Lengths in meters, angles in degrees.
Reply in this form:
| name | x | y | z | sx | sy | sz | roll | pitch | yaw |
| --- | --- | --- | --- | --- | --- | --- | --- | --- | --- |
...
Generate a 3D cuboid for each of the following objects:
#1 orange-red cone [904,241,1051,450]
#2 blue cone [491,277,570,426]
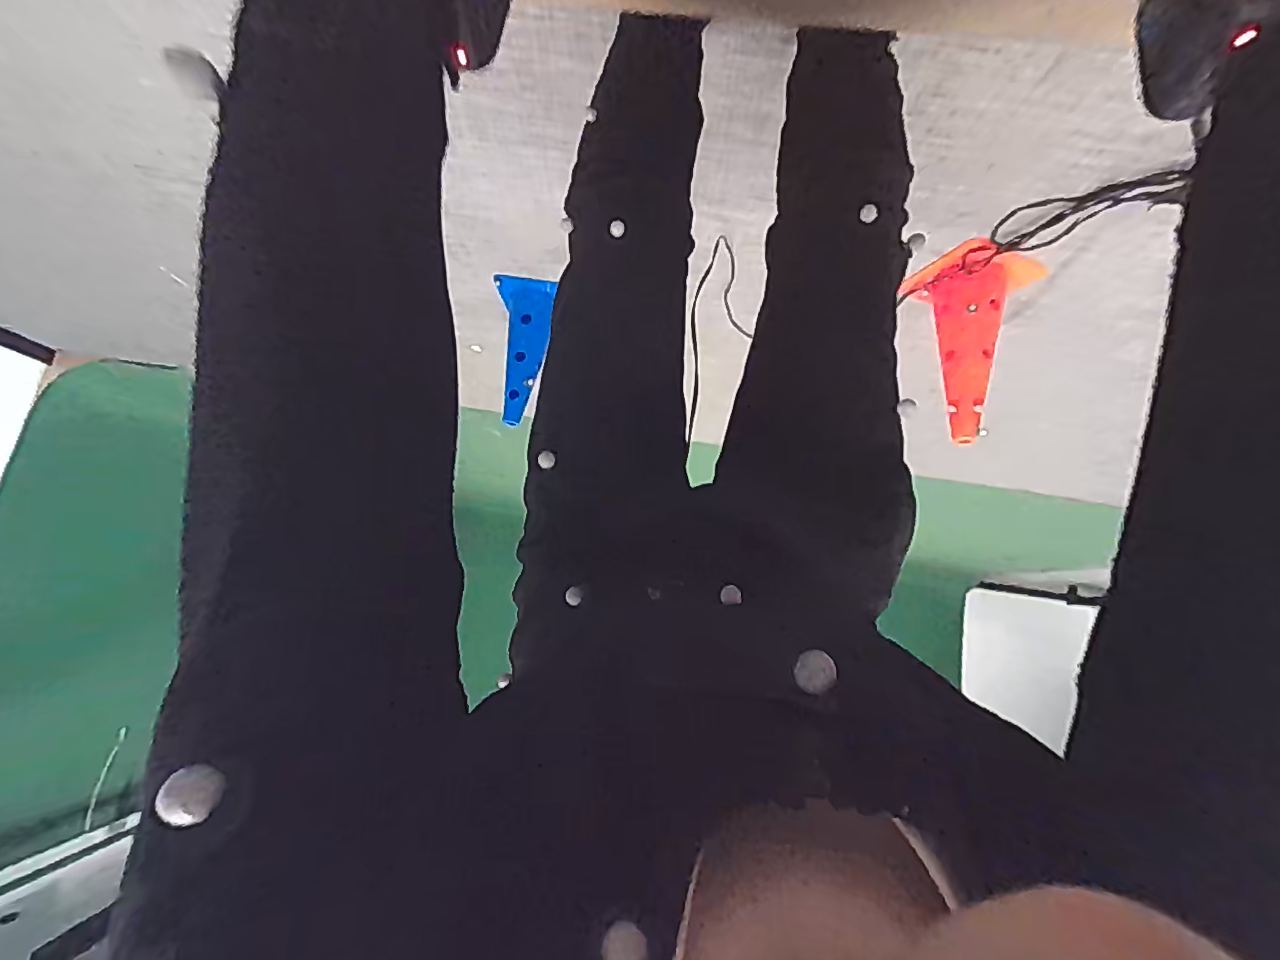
| name | x | y | z | sx | sy | sz | roll | pitch | yaw |
| --- | --- | --- | --- | --- | --- | --- | --- | --- | --- |
| orange-red cone | 0.644 | -0.234 | 1.047 | 0.199 | 0.360 | 0.198 | 12 | 168 | -18 |
| blue cone | -0.313 | -0.322 | 1.412 | 0.192 | 0.380 | 0.193 | 9 | 167 | 2 |
